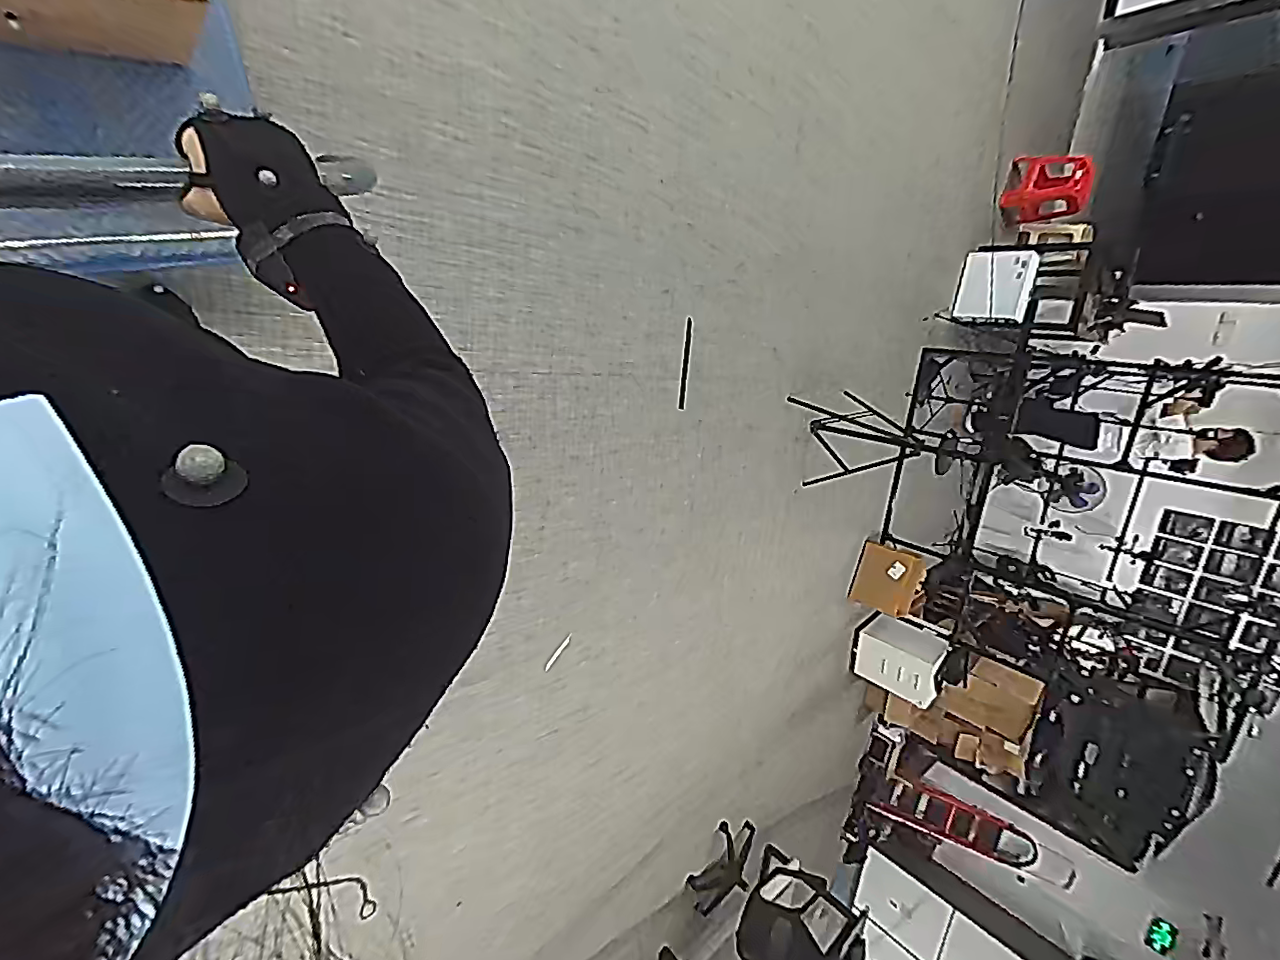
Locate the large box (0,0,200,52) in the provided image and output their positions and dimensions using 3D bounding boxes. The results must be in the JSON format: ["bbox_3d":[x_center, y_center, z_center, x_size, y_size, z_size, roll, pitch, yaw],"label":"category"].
[{"bbox_3d":[-0.834,-0.756,0.641,0.408,0.320,0.320,-23,120,-36],"label":"large box"}]
